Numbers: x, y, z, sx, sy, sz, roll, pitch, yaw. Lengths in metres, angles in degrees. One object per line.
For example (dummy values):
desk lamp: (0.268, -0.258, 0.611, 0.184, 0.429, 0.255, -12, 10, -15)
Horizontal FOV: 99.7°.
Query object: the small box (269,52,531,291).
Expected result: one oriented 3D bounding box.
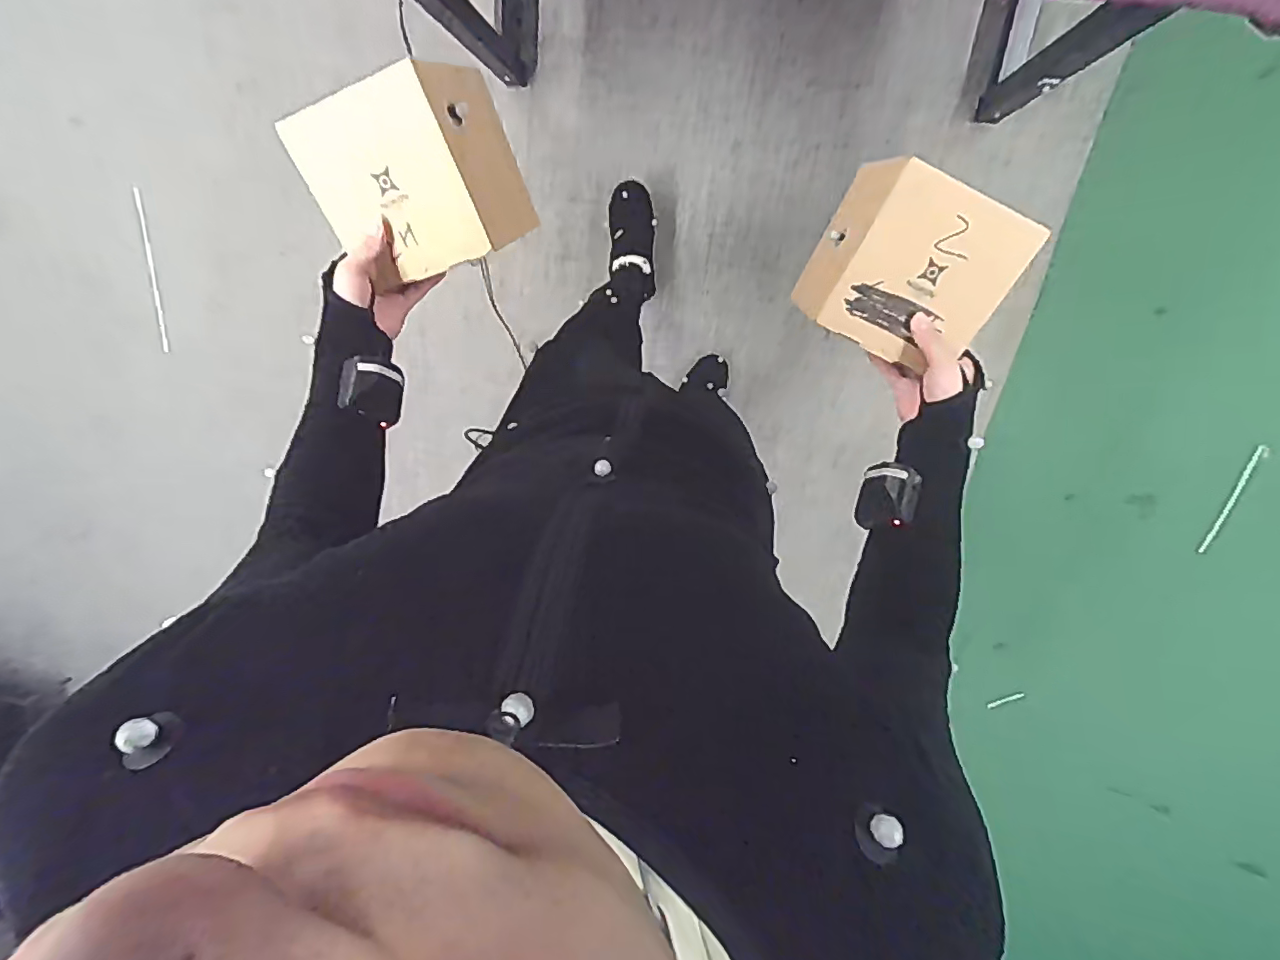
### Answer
small box: (-0.246, -0.338, 0.605, 0.168, 0.176, 0.179, -10, 122, 17)
